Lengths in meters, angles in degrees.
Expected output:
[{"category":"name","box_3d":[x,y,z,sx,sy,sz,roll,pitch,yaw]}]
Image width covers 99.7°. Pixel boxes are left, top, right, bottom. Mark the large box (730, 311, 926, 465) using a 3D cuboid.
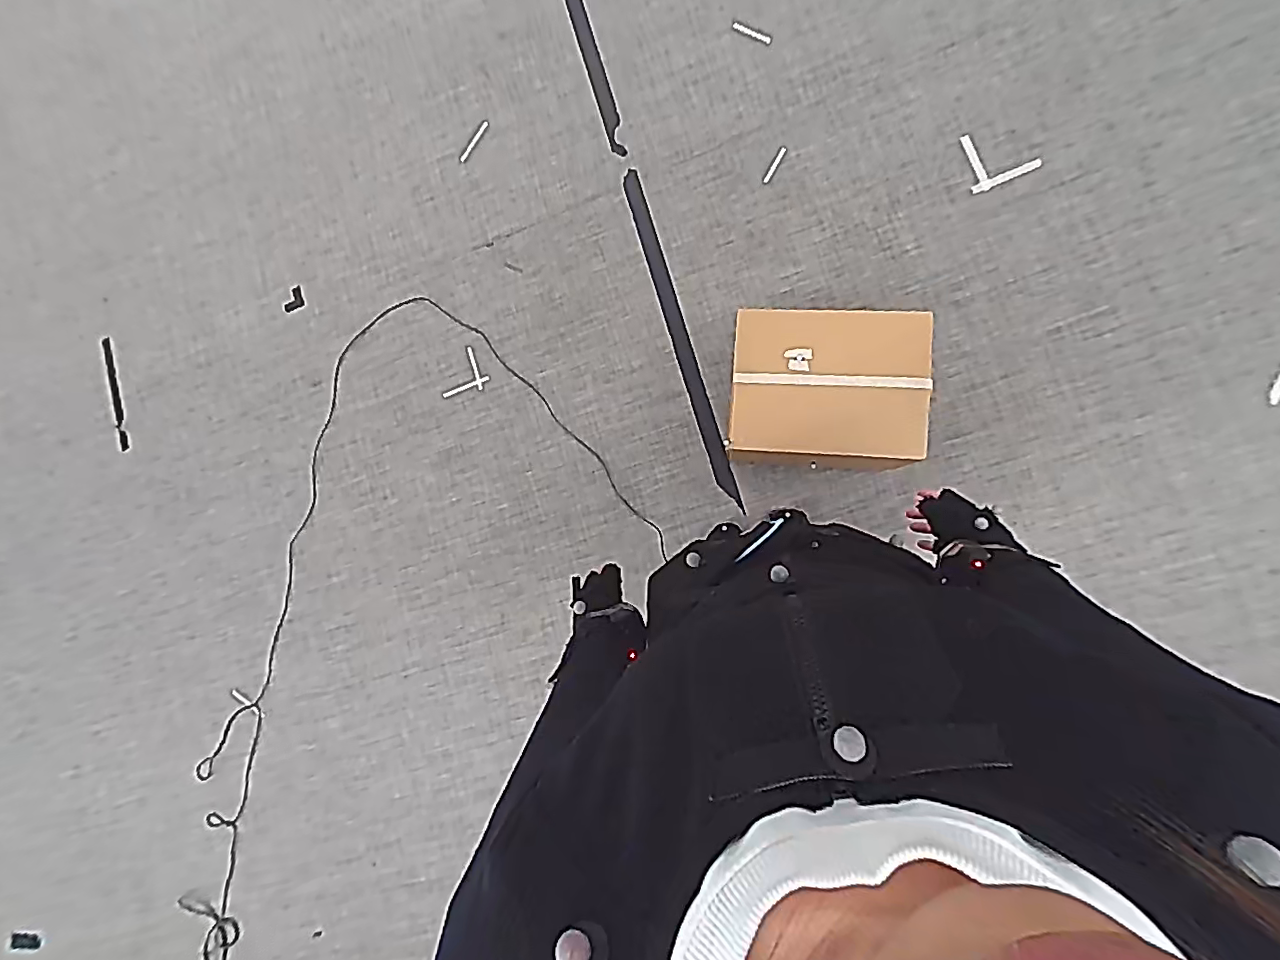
[{"category":"large box","box_3d":[0.430,-0.203,1.312,0.408,0.320,0.320,3,86,11]}]
